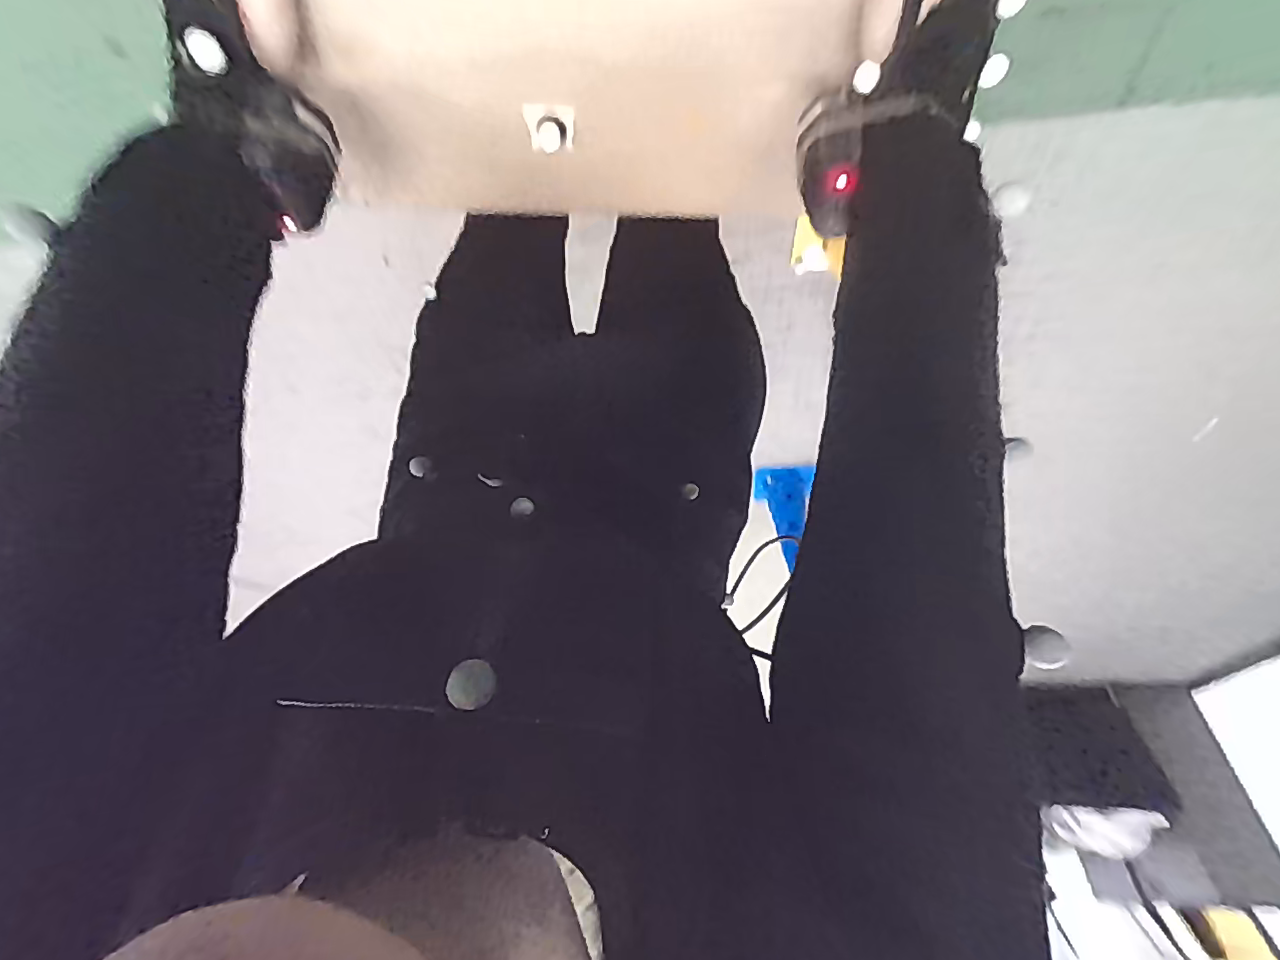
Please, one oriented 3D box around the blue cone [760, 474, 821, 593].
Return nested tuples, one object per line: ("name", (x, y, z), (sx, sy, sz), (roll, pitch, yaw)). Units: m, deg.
("blue cone", (0.489, 0.173, 1.680), (0.192, 0.380, 0.193), (-3, 142, 6))
